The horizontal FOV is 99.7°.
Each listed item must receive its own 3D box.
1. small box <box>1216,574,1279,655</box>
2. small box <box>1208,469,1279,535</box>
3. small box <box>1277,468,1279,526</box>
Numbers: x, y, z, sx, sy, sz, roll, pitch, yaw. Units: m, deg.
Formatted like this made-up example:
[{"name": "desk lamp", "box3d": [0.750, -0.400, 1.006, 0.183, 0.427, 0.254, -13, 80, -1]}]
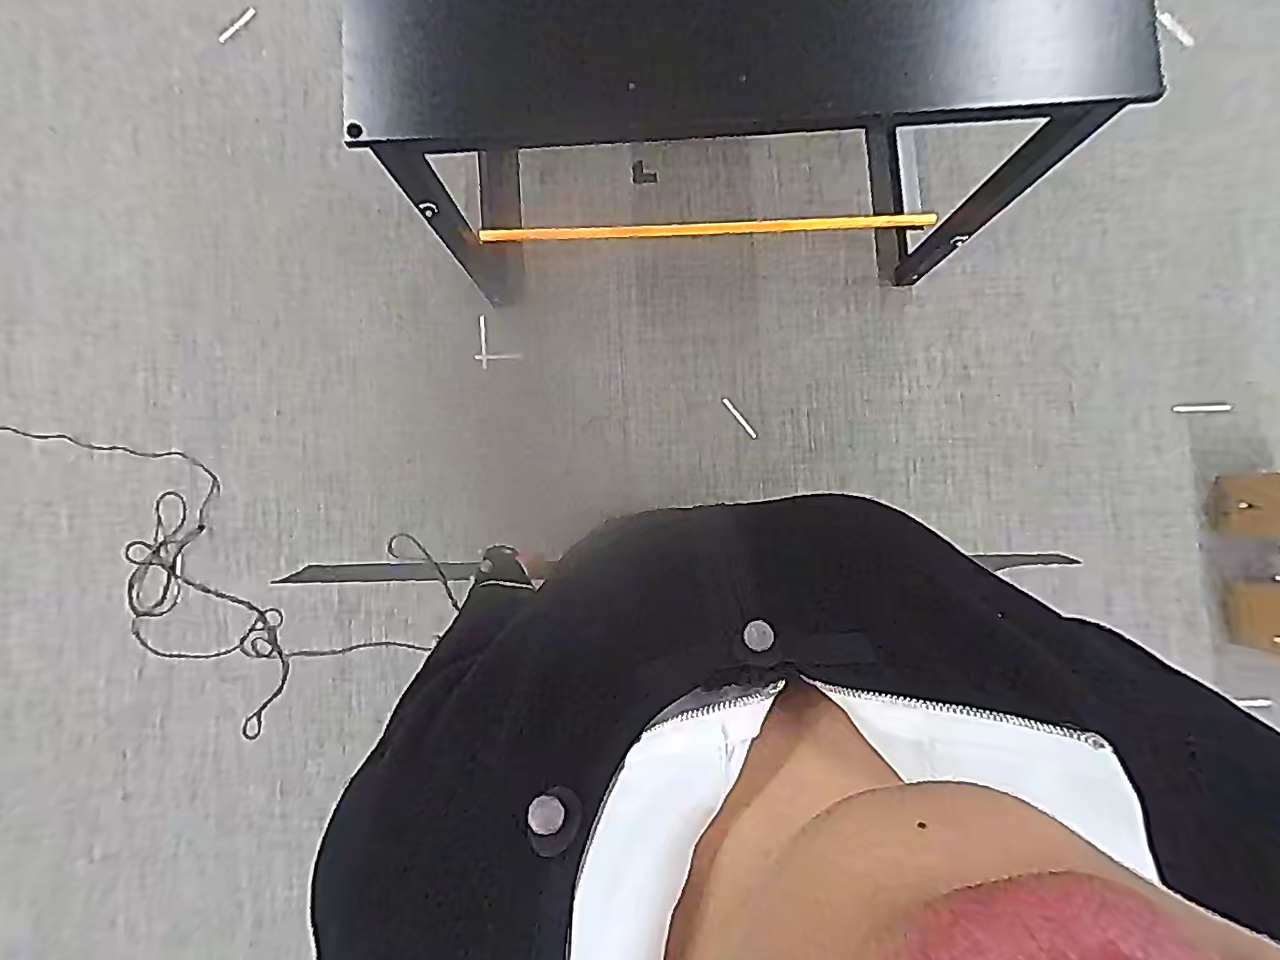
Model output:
[{"name": "small box", "box3d": [1.661, 0.347, 1.400, 0.168, 0.176, 0.179, -3, 88, 1]}, {"name": "small box", "box3d": [1.646, 0.060, 1.411, 0.179, 0.176, 0.168, 0, 87, 1]}, {"name": "small box", "box3d": [1.641, 0.044, 1.245, 0.168, 0.176, 0.179, 1, 88, 0]}]
